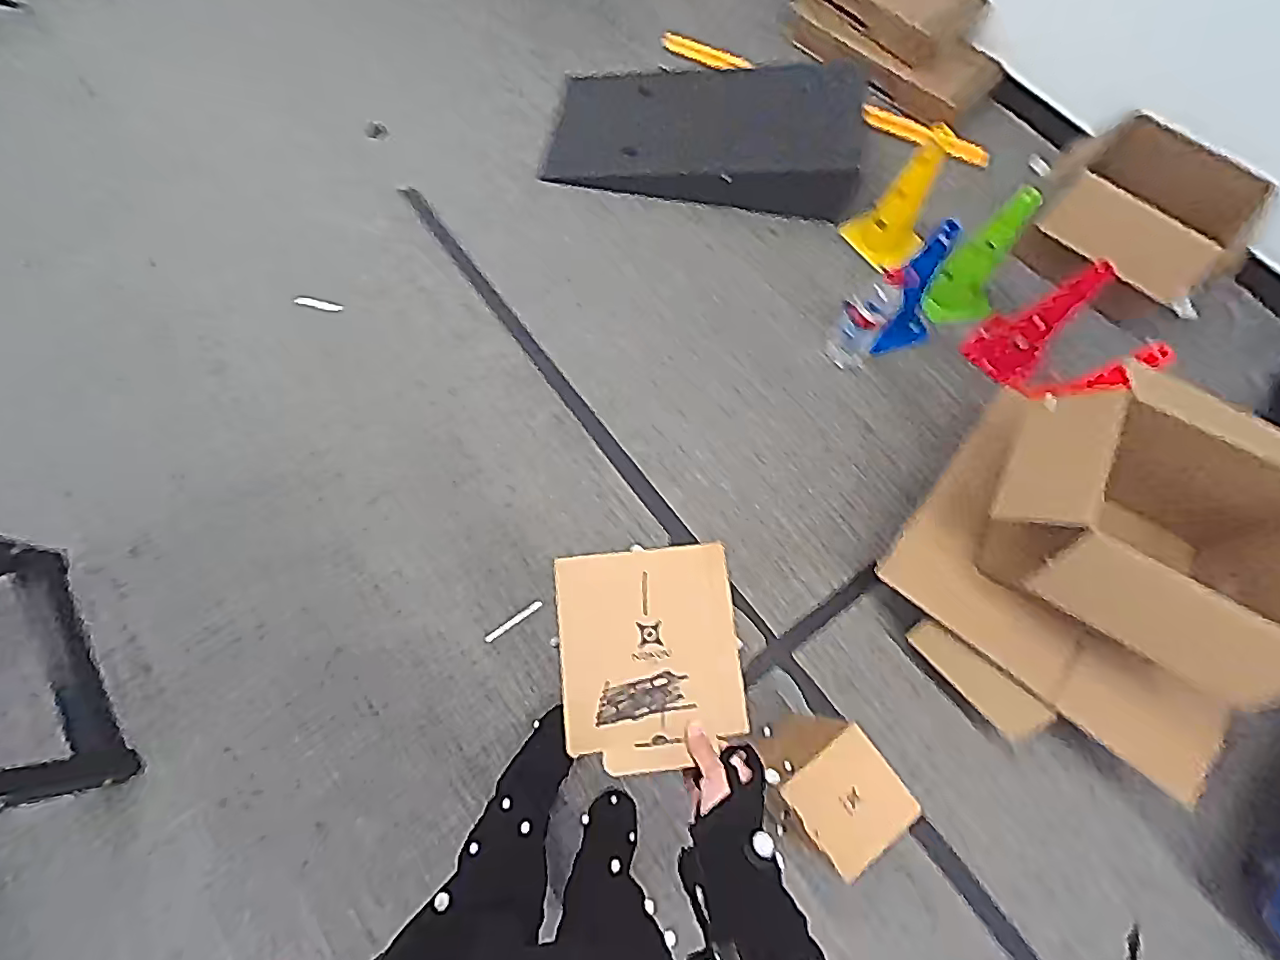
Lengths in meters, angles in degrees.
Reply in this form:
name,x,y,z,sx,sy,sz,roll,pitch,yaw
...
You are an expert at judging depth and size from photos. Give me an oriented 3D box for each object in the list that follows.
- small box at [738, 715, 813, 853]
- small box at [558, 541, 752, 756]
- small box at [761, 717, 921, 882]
name,x,y,z,sx,sy,sz,roll,pitch,yaw
small box,0.326,0.608,1.110,0.168,0.176,0.179,-30,75,-12
small box,0.007,0.167,0.571,0.168,0.176,0.179,-6,77,-6
small box,0.343,0.548,0.960,0.179,0.176,0.168,-34,76,-12
